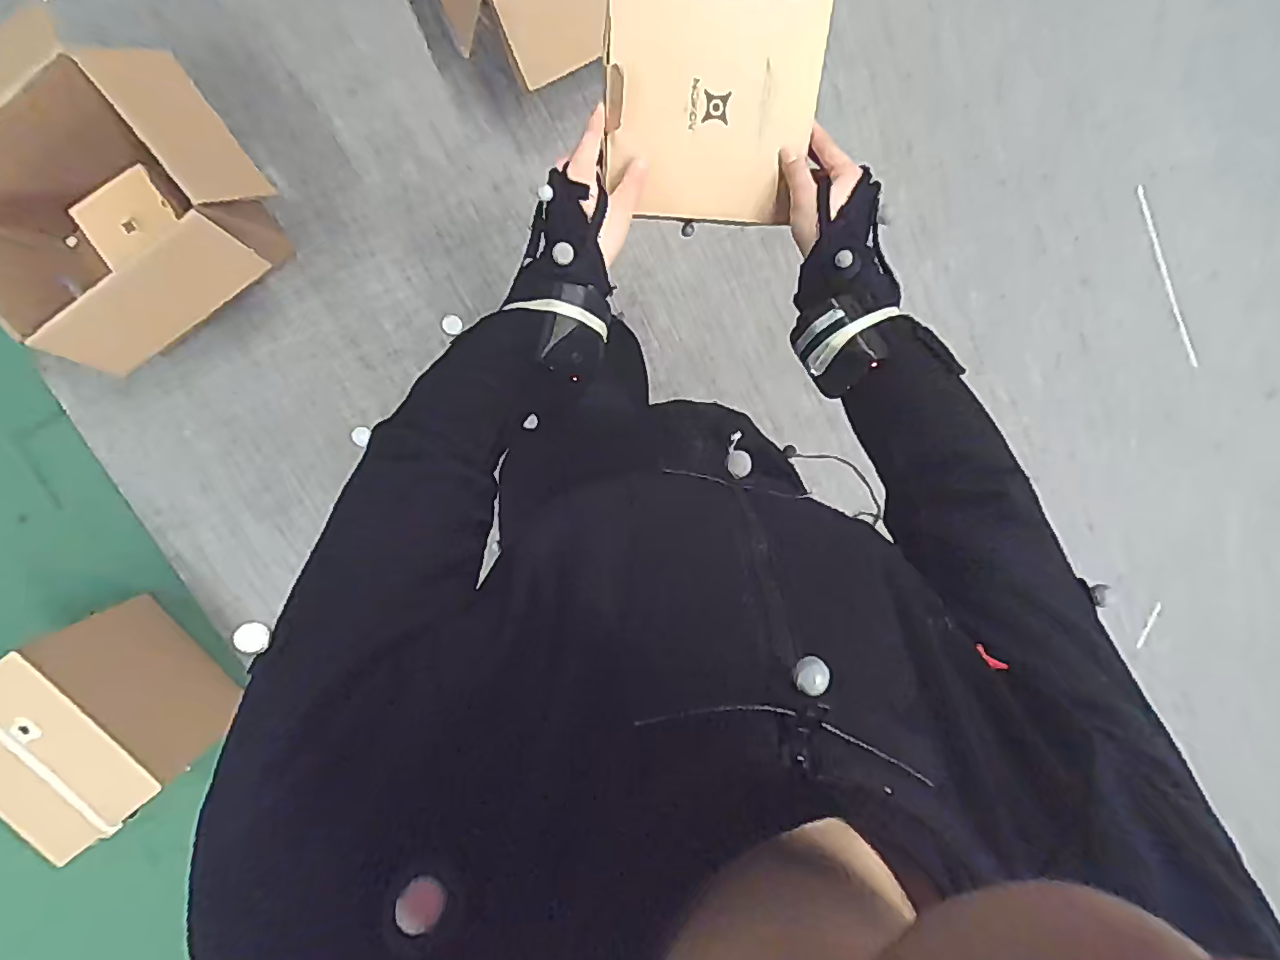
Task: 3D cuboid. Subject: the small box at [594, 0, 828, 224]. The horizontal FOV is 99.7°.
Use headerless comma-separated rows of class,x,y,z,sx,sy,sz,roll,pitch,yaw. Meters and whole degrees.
small box,0.046,-0.336,0.506,0.179,0.176,0.168,0,116,-7
